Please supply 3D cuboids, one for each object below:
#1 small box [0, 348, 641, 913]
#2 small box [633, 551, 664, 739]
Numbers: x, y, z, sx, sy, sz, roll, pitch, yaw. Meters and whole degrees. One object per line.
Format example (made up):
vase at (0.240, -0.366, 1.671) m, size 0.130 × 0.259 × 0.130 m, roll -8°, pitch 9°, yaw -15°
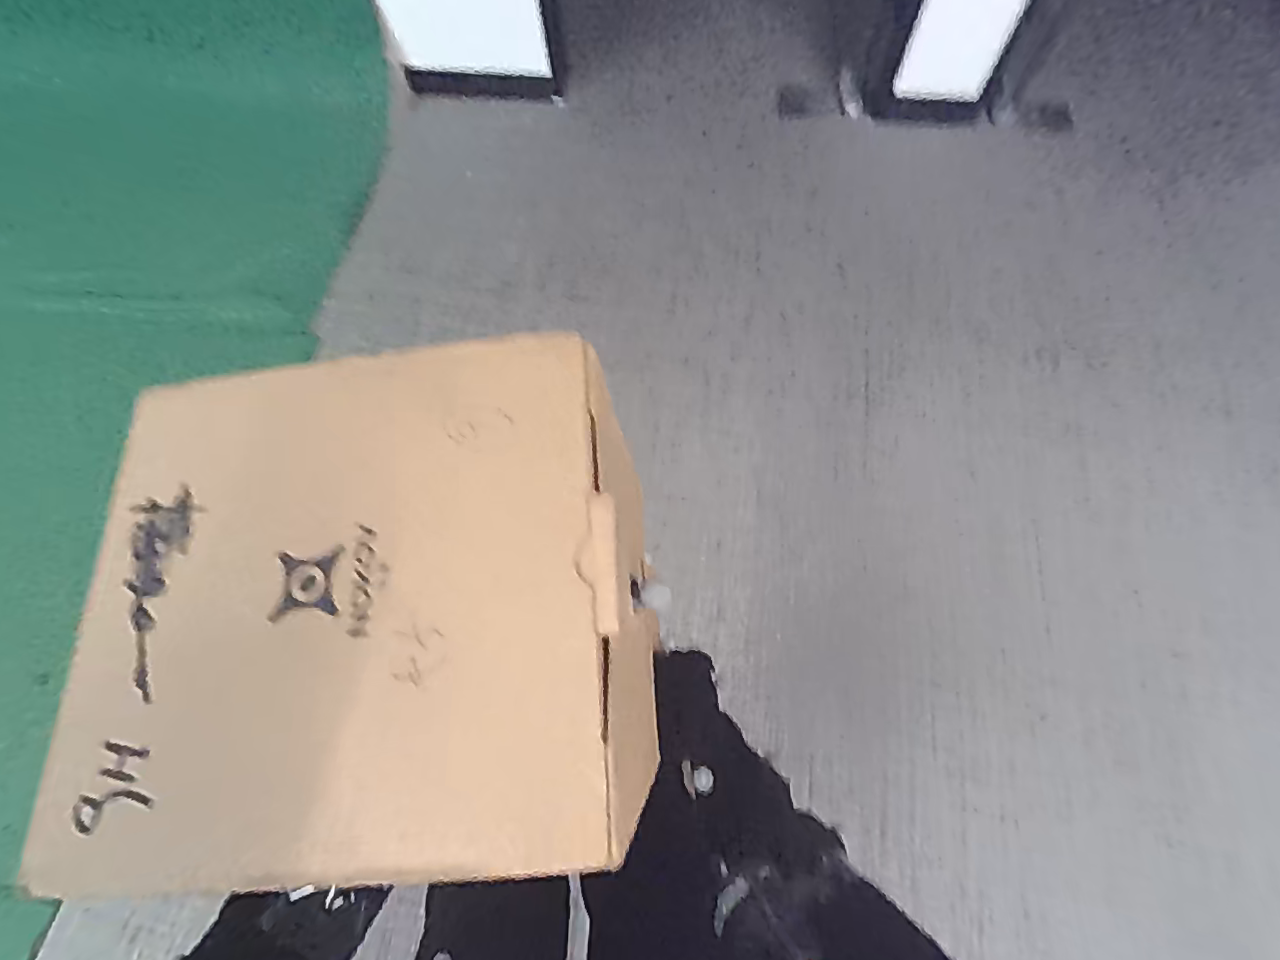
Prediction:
small box at (-0.092, 0.062, 0.247) m, size 0.179 × 0.176 × 0.168 m, roll -5°, pitch 70°, yaw 3°
small box at (-0.072, 0.178, 0.567) m, size 0.179 × 0.176 × 0.168 m, roll -6°, pitch 71°, yaw 3°
